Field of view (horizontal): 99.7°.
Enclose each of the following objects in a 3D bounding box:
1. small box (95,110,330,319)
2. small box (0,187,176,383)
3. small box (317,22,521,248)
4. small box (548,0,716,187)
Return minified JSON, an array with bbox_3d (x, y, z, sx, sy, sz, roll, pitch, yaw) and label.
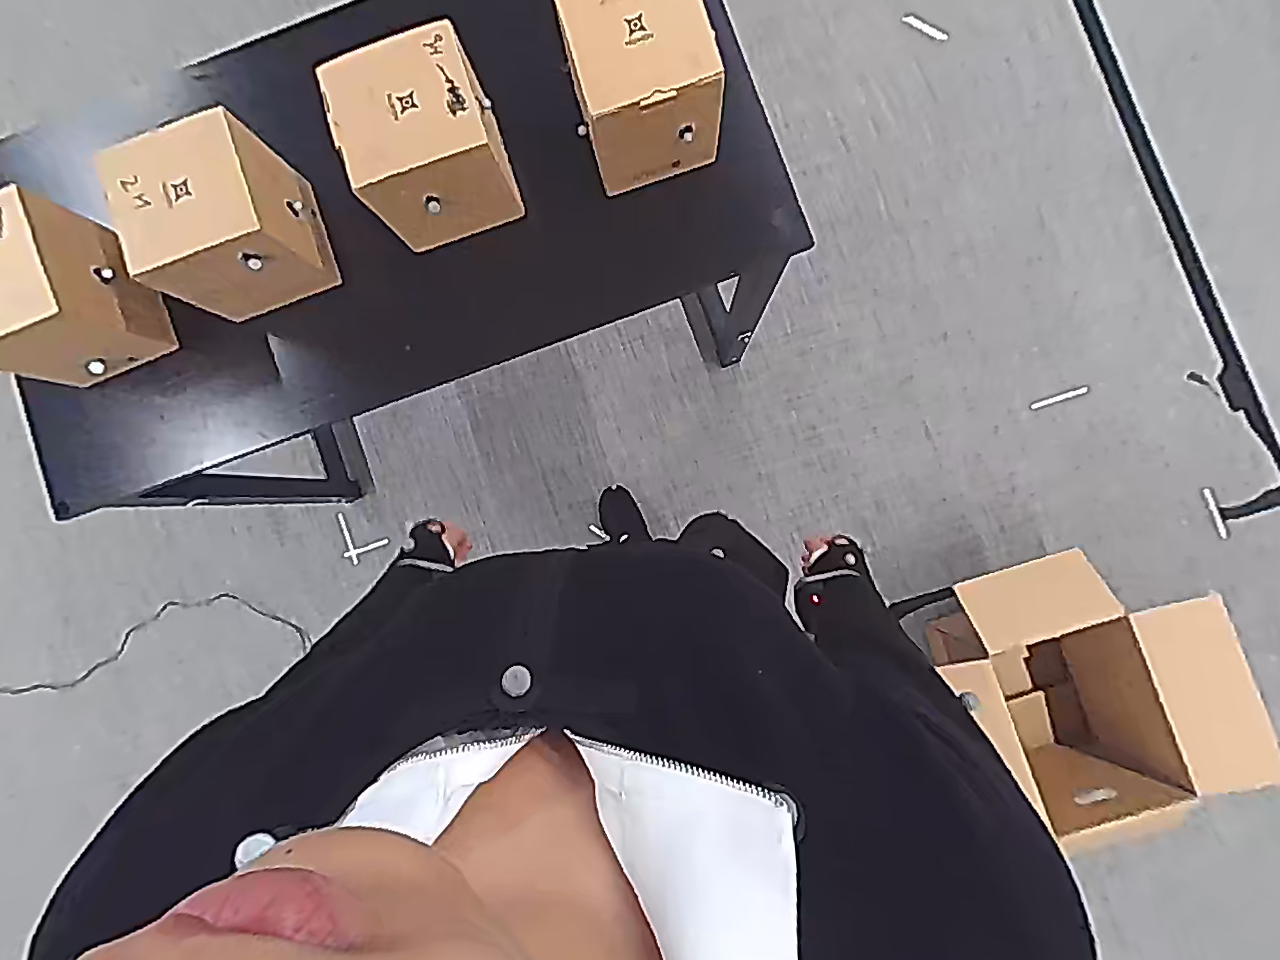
[{"bbox_3d":[-0.561,-0.346,0.739,0.179,0.176,0.168,-20,87,2],"label":"small box"},{"bbox_3d":[-0.811,-0.255,0.750,0.168,0.176,0.179,-21,88,2],"label":"small box"},{"bbox_3d":[-0.285,-0.445,0.730,0.179,0.176,0.168,-18,87,3],"label":"small box"},{"bbox_3d":[-0.006,-0.523,0.717,0.168,0.176,0.179,-17,86,2],"label":"small box"}]
